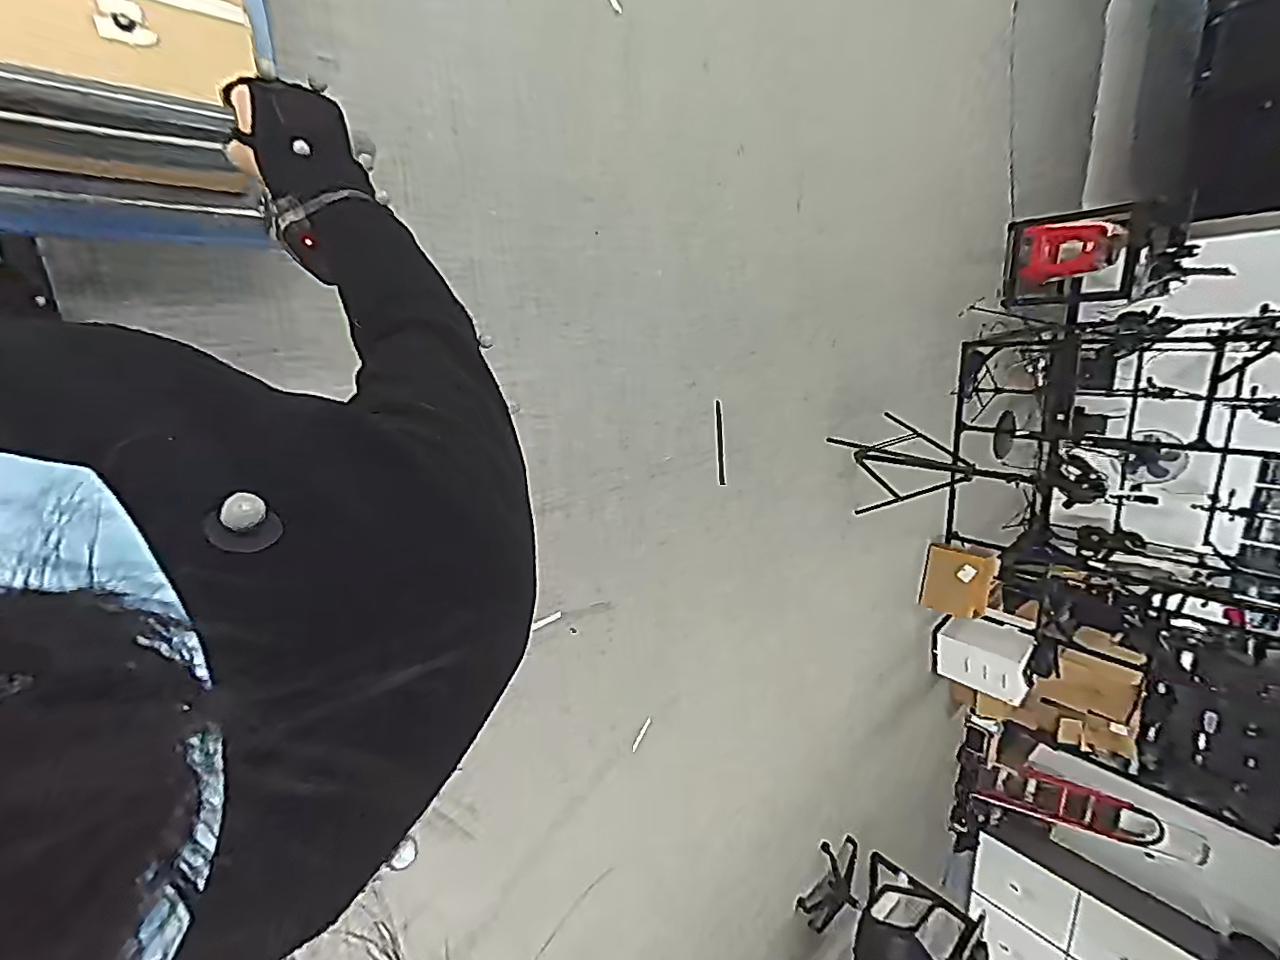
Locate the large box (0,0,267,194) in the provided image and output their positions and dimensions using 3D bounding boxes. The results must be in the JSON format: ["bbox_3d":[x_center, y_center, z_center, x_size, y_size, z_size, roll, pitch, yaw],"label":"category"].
[{"bbox_3d":[-0.798,-0.614,0.735,0.408,0.320,0.320,-14,109,-40],"label":"large box"}]
